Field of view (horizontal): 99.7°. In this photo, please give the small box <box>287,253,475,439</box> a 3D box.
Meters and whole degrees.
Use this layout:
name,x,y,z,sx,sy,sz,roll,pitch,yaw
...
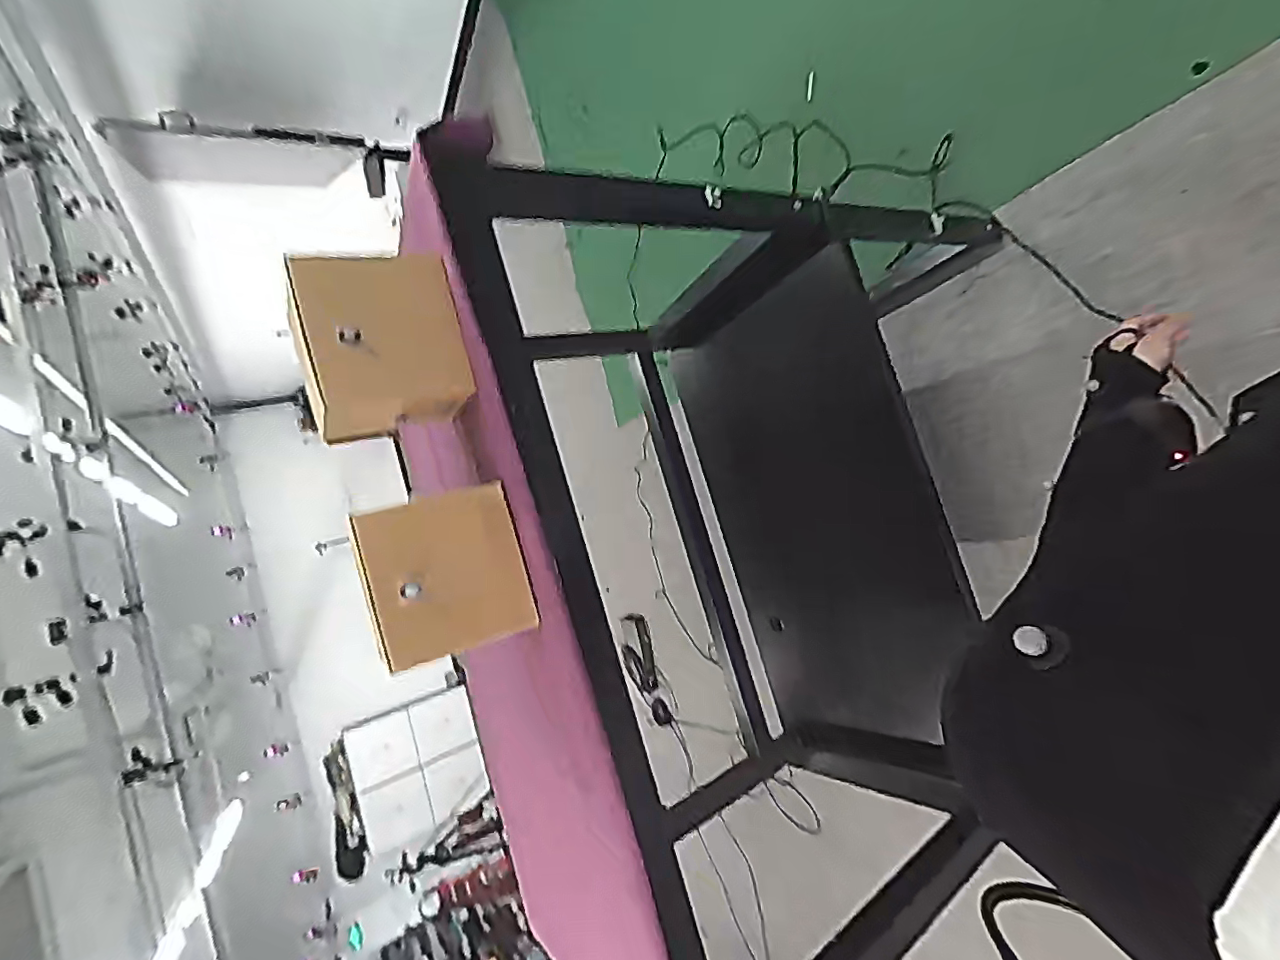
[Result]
name,x,y,z,sx,sy,sz,roll,pitch,yaw
small box,-0.320,-0.164,0.676,0.168,0.176,0.179,-17,88,57

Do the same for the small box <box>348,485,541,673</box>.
name,x,y,z,sx,sy,sz,roll,pitch,yaw
small box,-0.240,0.112,0.658,0.168,0.176,0.179,-24,82,59
